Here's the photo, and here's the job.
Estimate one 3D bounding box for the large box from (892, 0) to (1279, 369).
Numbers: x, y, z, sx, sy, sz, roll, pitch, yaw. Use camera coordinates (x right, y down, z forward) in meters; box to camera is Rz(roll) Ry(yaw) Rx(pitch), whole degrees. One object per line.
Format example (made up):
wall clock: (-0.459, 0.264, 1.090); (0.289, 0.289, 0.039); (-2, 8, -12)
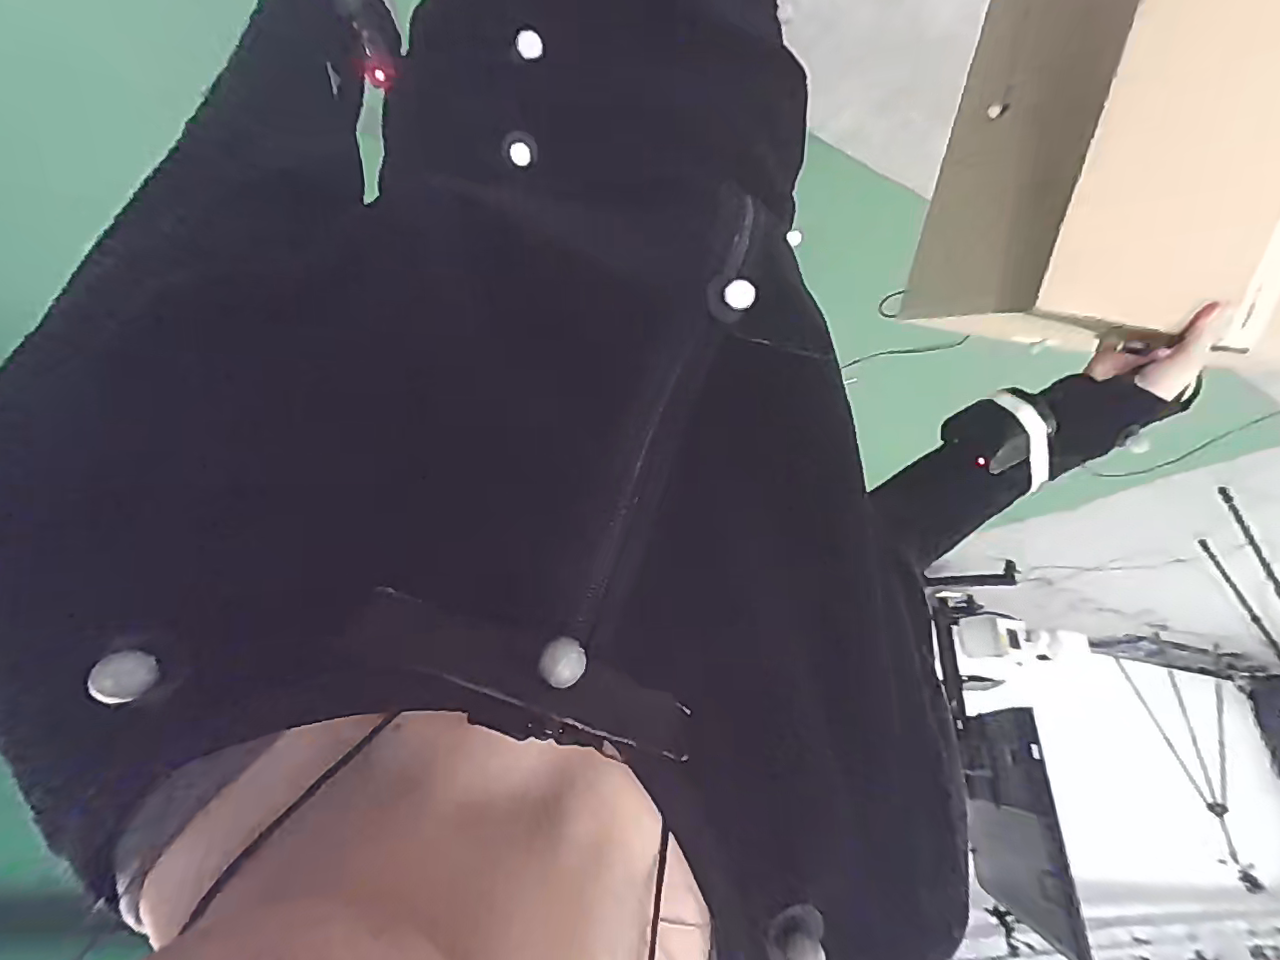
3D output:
large box: (0.511, -0.340, 0.547); (0.320, 0.408, 0.320); (11, -165, 1)
